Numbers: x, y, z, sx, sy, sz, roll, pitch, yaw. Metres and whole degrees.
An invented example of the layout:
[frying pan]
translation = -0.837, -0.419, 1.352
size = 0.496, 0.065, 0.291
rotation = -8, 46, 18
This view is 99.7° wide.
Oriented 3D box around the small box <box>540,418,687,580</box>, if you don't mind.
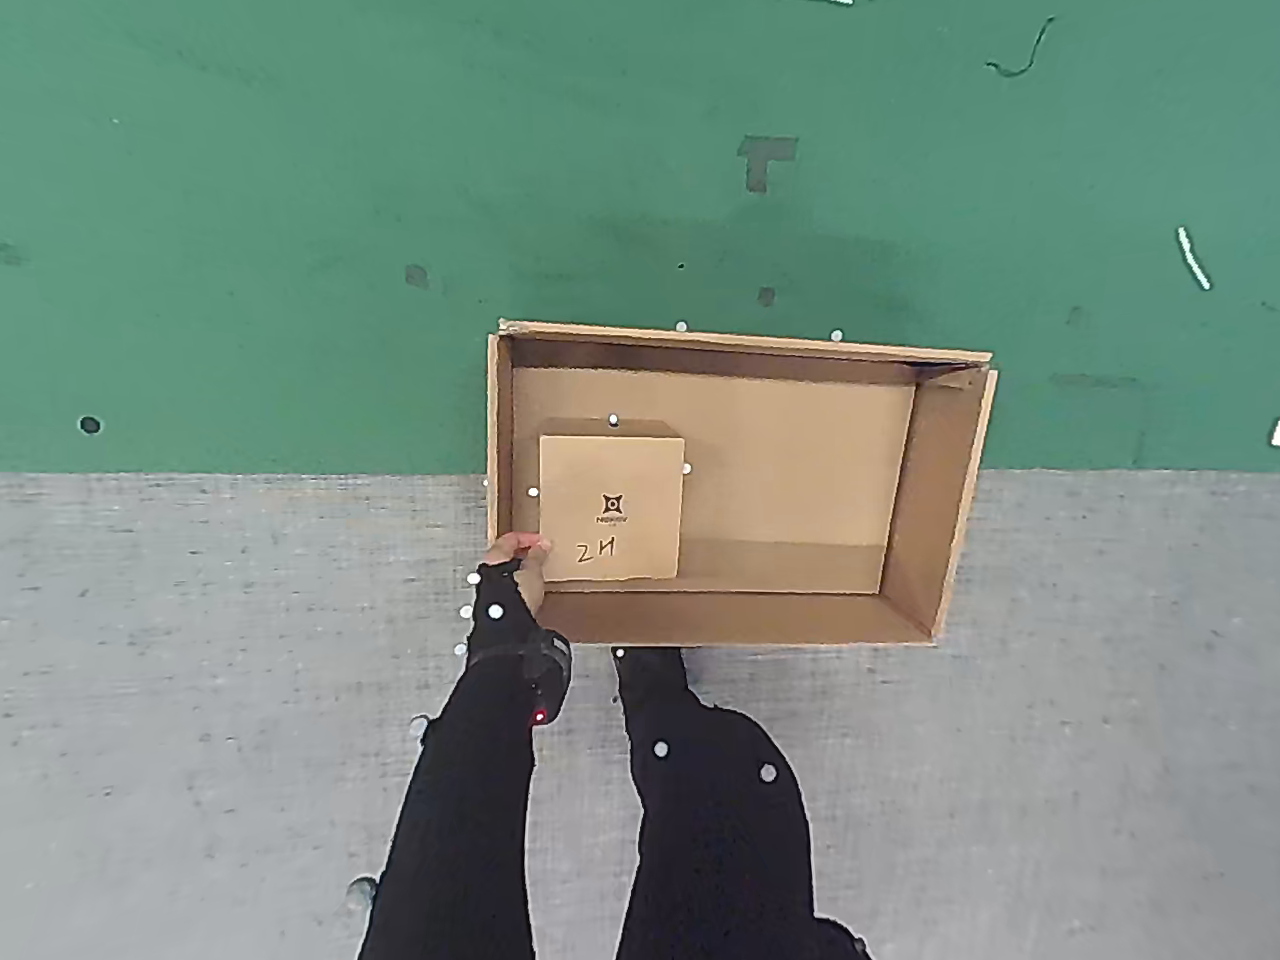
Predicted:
[small box]
translation = -0.041, 0.016, 0.696
size = 0.168, 0.176, 0.179
rotation = 1, 103, -6
